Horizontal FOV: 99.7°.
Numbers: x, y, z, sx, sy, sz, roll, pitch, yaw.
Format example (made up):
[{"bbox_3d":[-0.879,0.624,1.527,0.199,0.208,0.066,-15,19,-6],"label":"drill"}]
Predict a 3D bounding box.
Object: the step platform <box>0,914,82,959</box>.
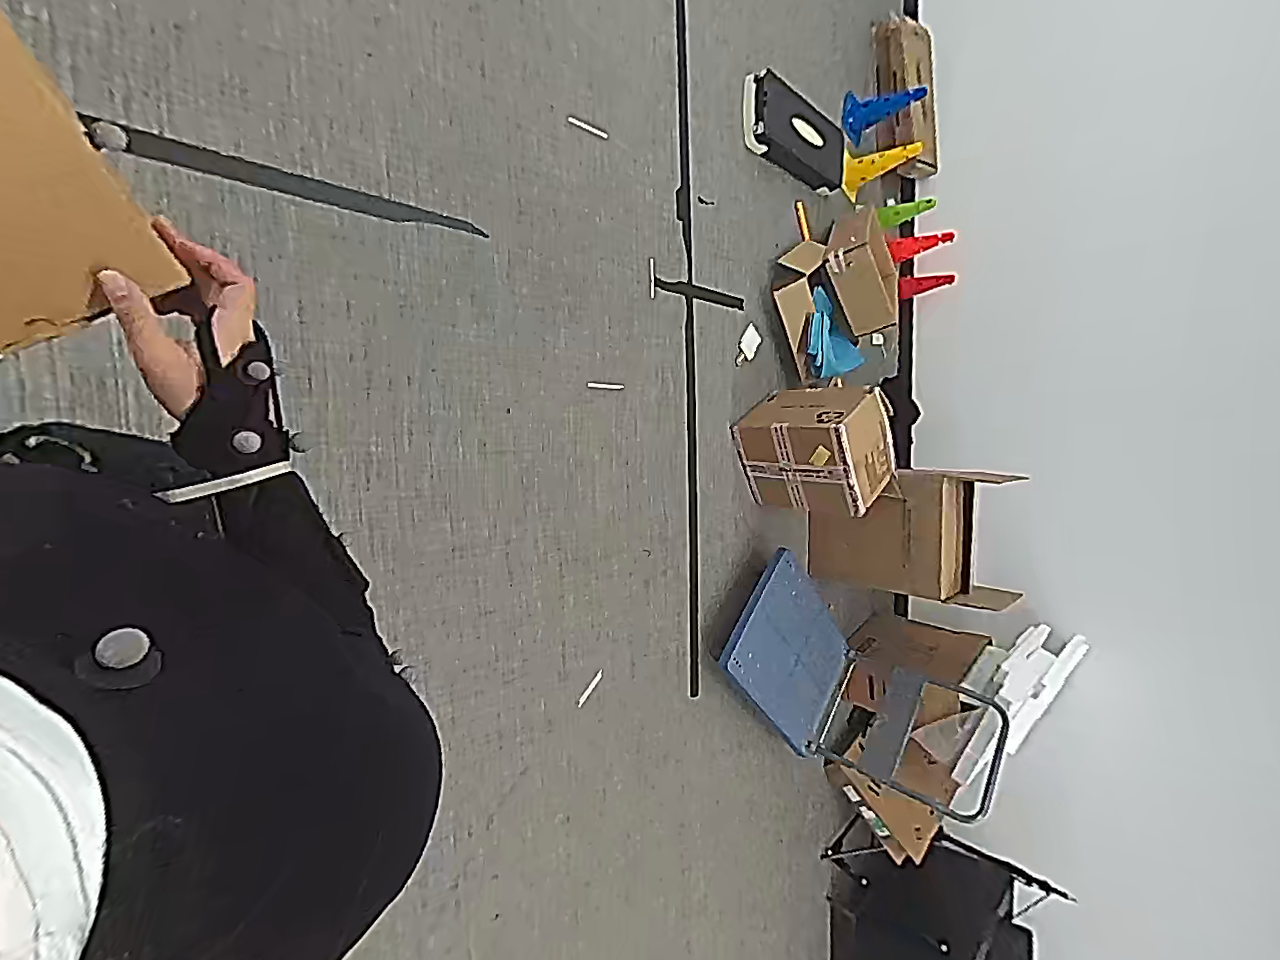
[{"bbox_3d":[-1.222,0.941,0.712,0.684,0.204,0.286,-6,97,-44],"label":"step platform"}]
